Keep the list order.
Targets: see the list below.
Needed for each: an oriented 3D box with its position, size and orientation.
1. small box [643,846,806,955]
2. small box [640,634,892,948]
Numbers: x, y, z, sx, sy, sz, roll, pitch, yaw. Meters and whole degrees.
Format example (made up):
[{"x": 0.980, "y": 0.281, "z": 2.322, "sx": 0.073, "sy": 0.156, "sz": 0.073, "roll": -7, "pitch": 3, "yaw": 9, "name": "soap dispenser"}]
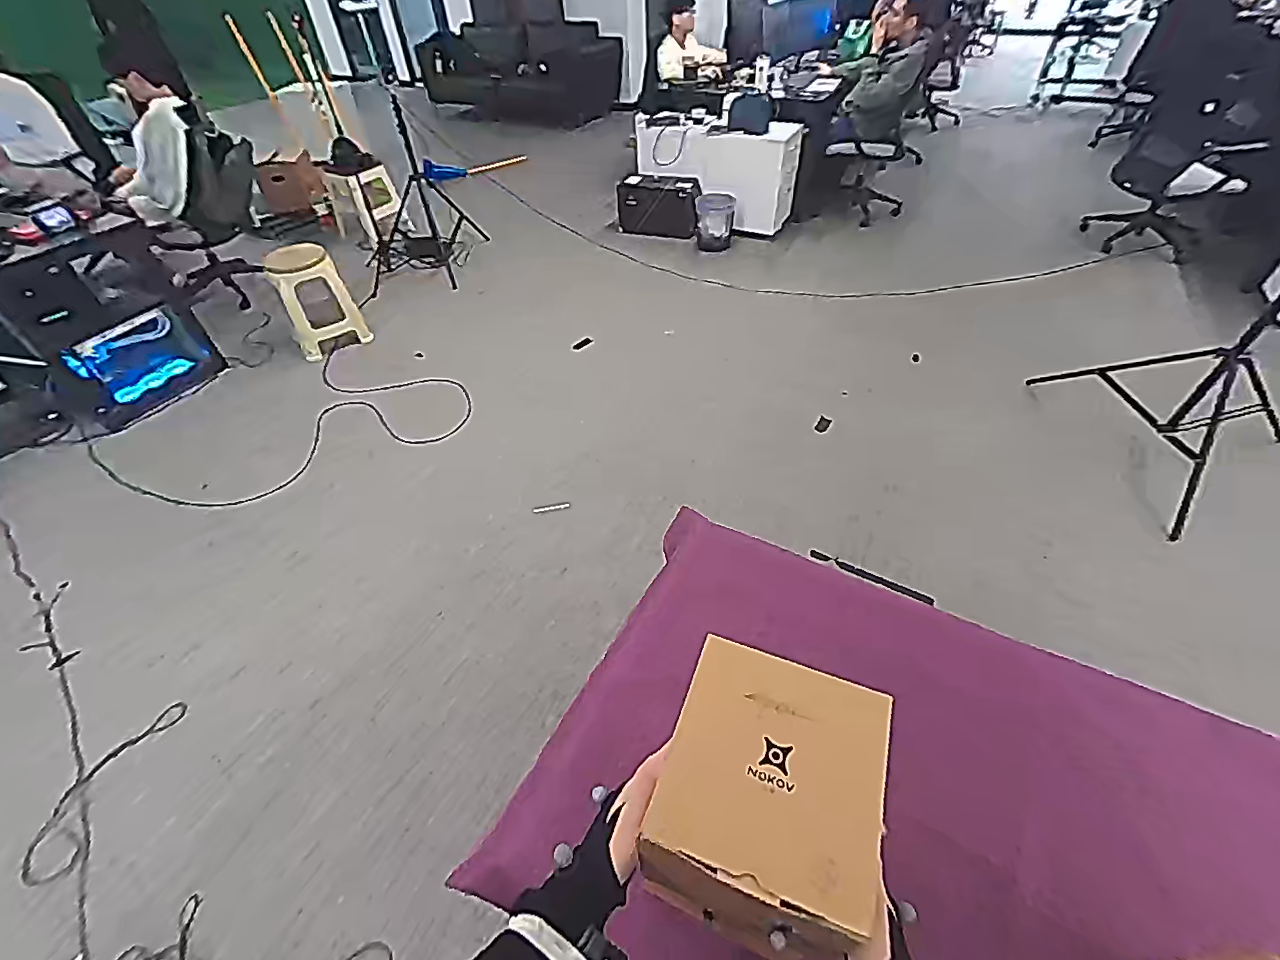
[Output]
[{"x": 0.114, "y": 0.387, "z": 0.605, "sx": 0.168, "sy": 0.176, "sz": 0.179, "roll": 18, "pitch": 48, "yaw": 18, "name": "small box"}, {"x": 0.109, "y": 0.277, "z": 0.484, "sx": 0.168, "sy": 0.176, "sz": 0.179, "roll": 16, "pitch": 47, "yaw": 15, "name": "small box"}]
